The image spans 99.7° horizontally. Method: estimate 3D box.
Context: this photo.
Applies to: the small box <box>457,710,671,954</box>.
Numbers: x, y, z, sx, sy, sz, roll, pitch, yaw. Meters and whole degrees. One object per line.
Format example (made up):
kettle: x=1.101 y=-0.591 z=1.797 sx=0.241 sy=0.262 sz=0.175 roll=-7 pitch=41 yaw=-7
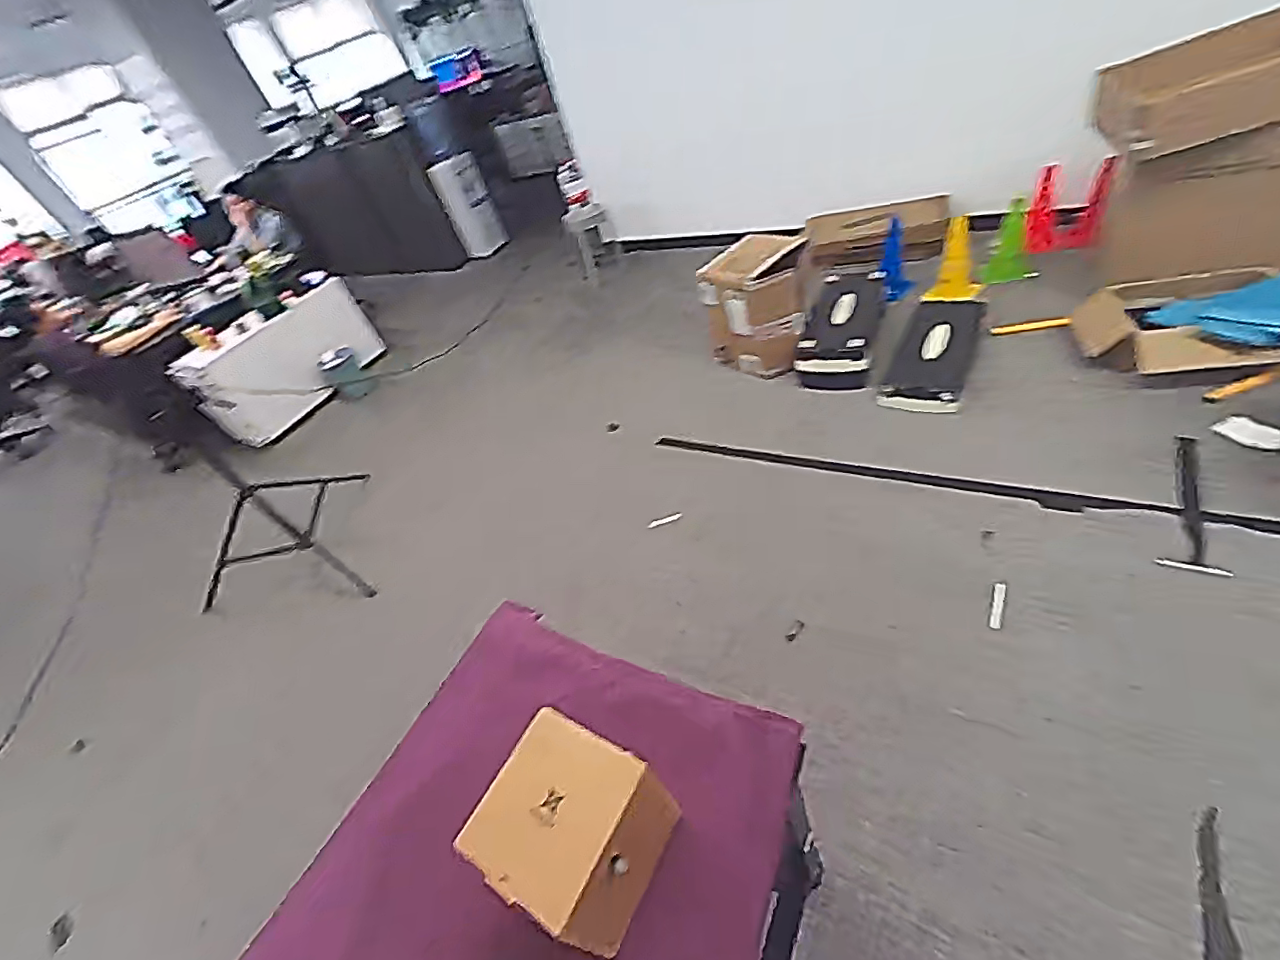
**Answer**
small box: x=-0.077 y=0.425 z=0.660 sx=0.168 sy=0.176 sz=0.179 roll=12 pitch=52 yaw=34
